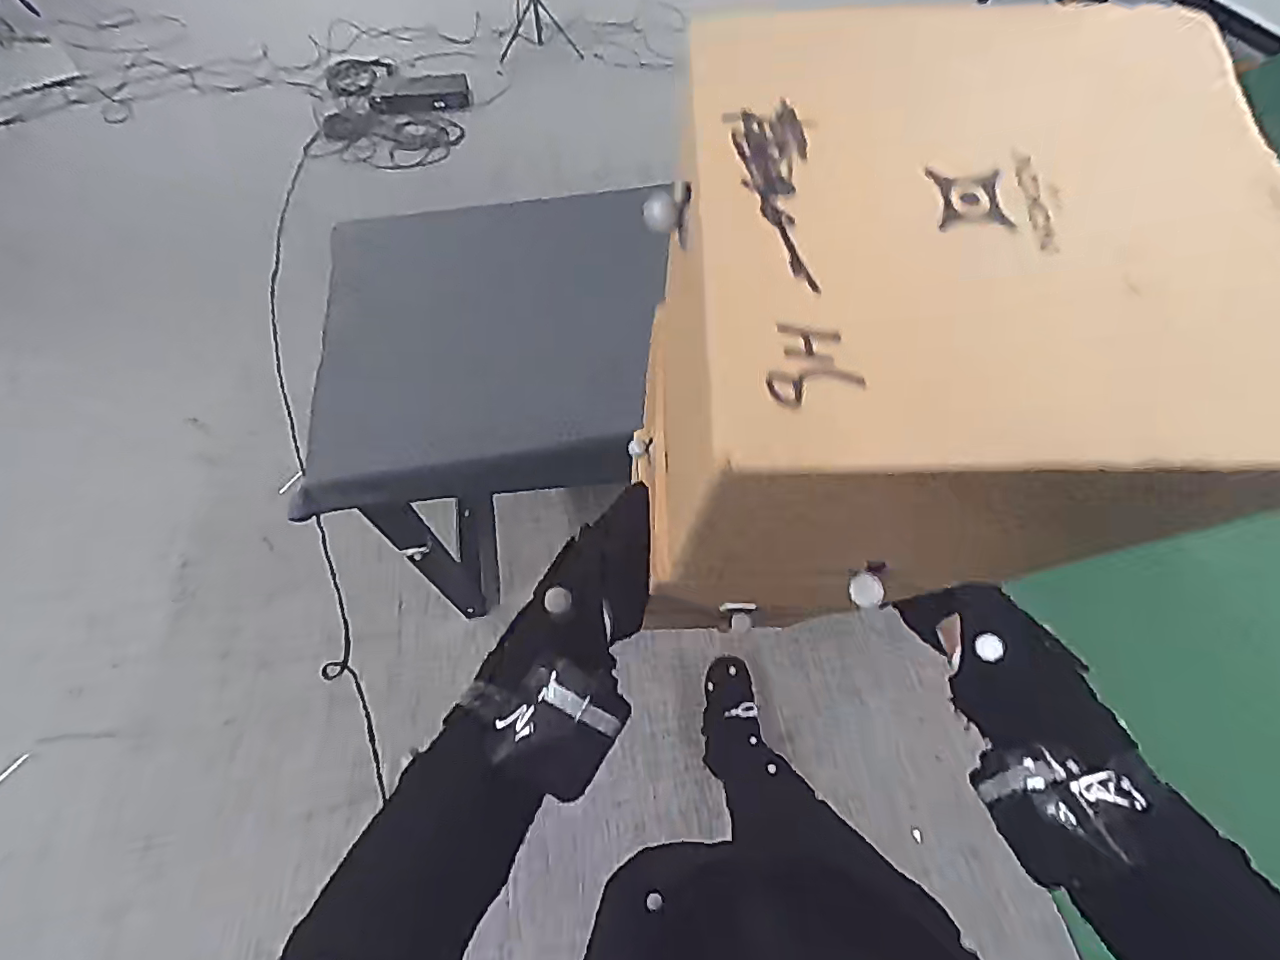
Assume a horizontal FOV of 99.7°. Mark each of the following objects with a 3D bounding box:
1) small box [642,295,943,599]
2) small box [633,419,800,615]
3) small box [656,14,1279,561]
[{"bbox_3d":[0.087,-0.012,0.402,0.168,0.176,0.179,1,71,-1],"label":"small box"},{"bbox_3d":[0.081,0.045,0.554,0.179,0.176,0.168,-1,71,-3],"label":"small box"},{"bbox_3d":[0.101,-0.061,0.247,0.179,0.176,0.168,0,70,-2],"label":"small box"}]
